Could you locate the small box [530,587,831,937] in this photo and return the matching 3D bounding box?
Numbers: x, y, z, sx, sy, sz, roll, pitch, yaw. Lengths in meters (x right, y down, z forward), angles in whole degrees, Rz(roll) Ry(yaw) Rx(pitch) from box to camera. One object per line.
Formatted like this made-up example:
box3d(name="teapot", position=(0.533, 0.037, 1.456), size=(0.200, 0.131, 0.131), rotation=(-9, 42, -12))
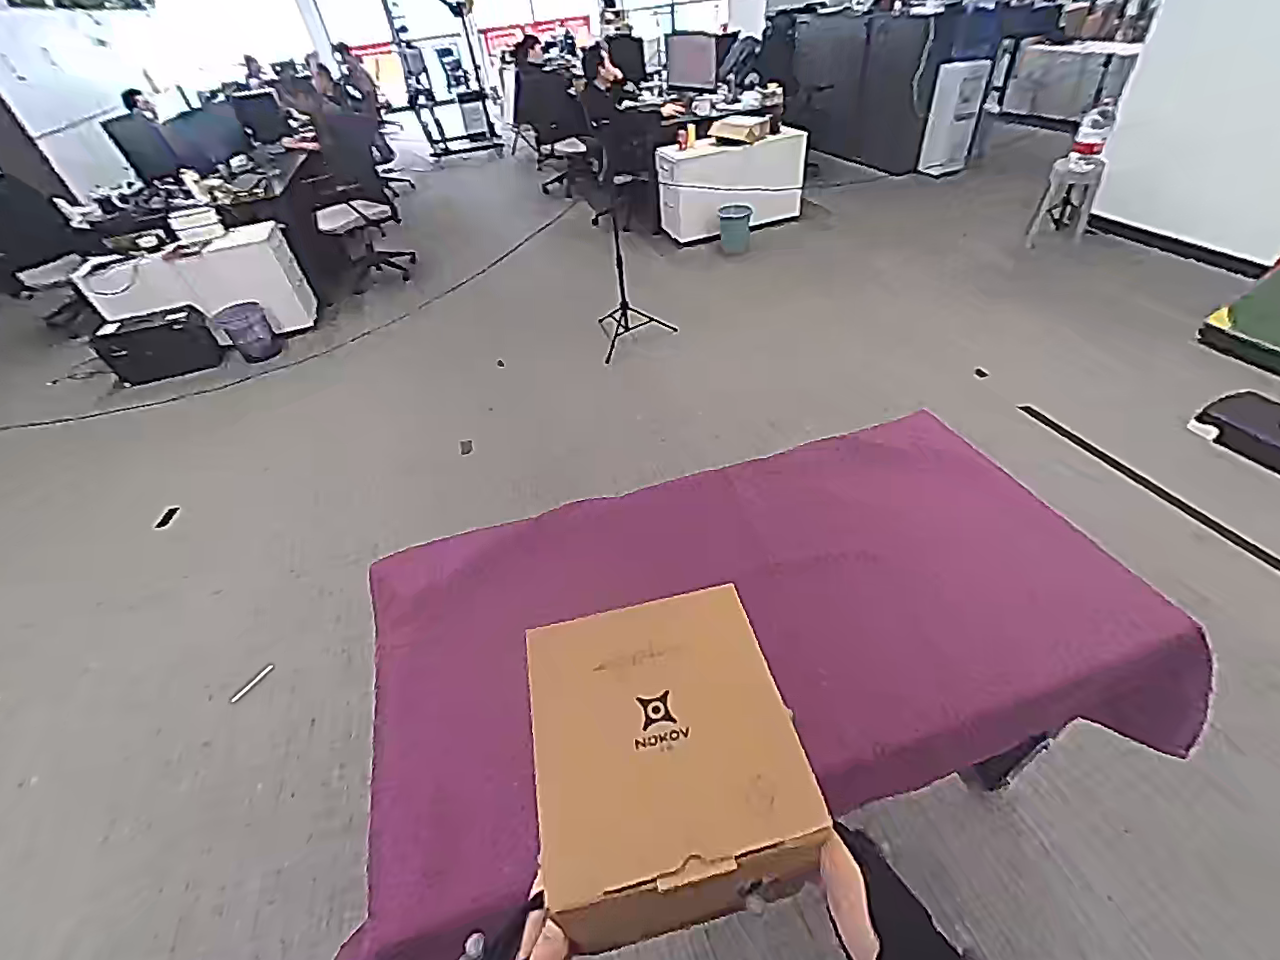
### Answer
box3d(name="small box", position=(0.019, 0.214, 0.408), size=(0.168, 0.176, 0.179), rotation=(-11, 43, -6))
